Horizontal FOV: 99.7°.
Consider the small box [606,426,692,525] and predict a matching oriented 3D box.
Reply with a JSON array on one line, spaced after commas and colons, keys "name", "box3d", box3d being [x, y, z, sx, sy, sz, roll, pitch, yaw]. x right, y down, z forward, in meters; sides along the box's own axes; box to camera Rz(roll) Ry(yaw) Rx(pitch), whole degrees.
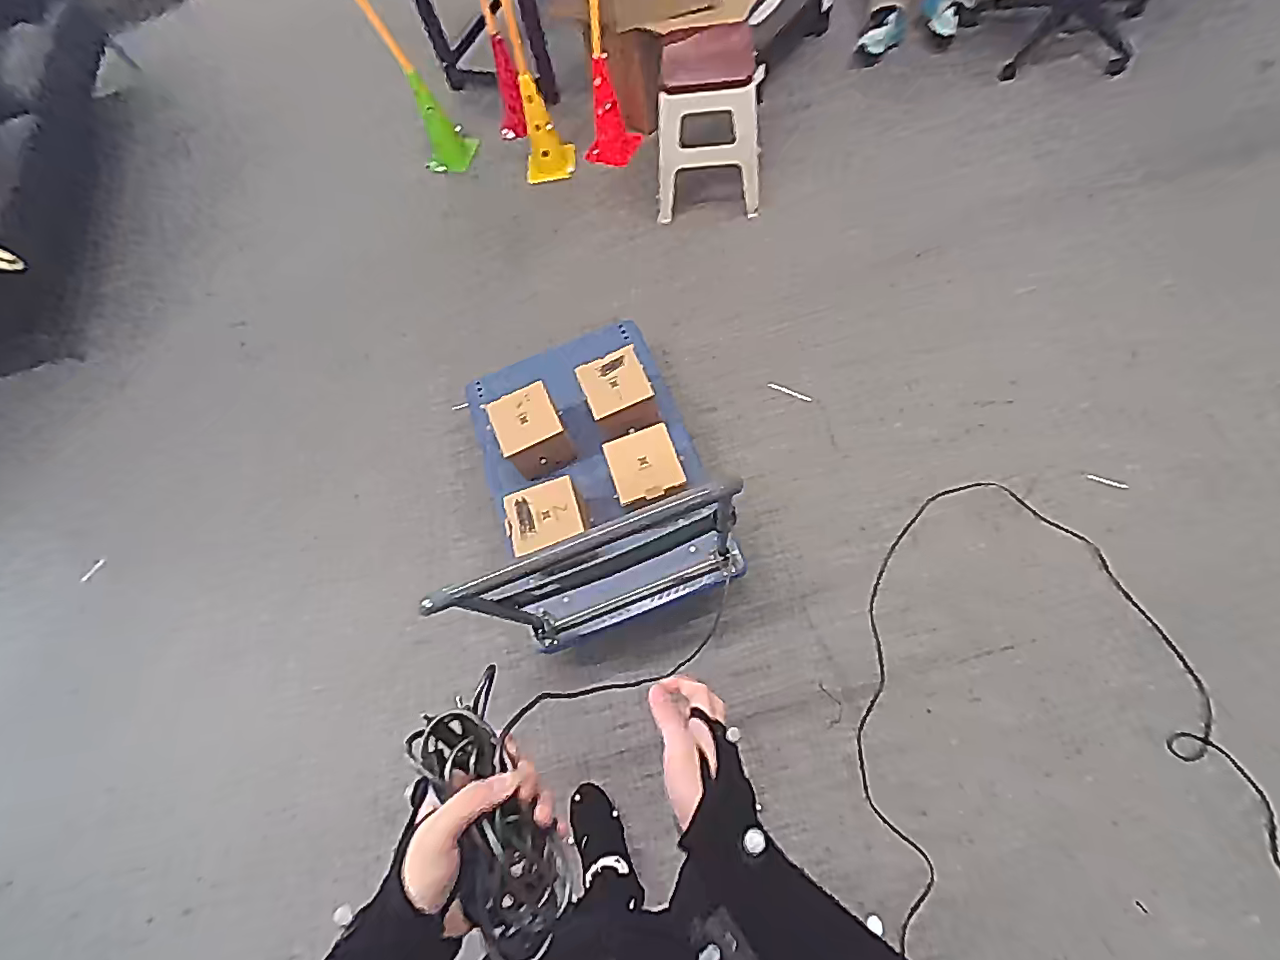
[{"name": "small box", "box3d": [0.026, -0.007, 1.382, 0.168, 0.176, 0.179, -20, 67, 1]}]

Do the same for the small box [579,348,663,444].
[{"name": "small box", "box3d": [-0.049, -0.223, 1.482, 0.168, 0.176, 0.179, -24, 67, 0]}]
